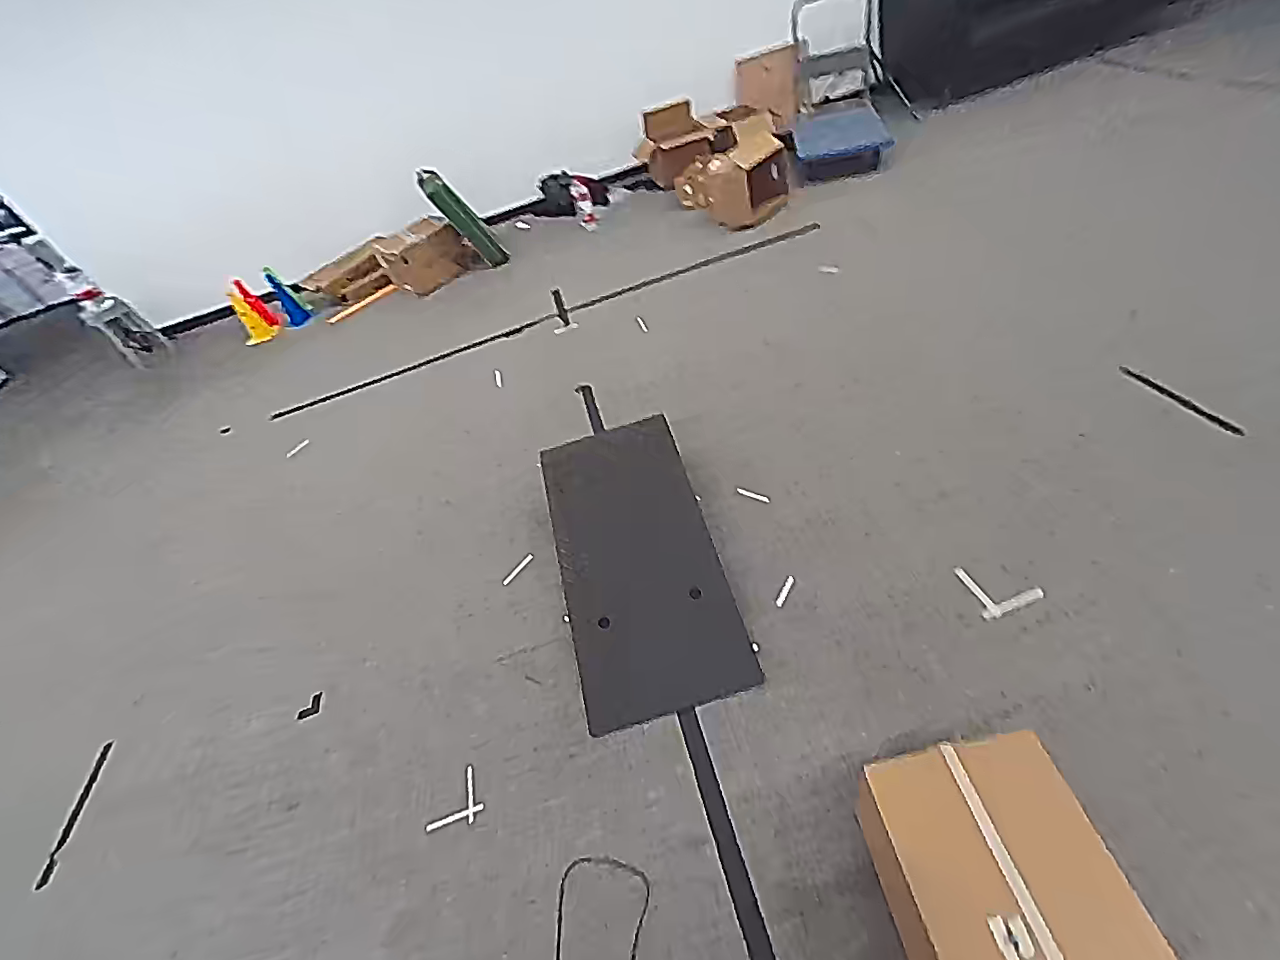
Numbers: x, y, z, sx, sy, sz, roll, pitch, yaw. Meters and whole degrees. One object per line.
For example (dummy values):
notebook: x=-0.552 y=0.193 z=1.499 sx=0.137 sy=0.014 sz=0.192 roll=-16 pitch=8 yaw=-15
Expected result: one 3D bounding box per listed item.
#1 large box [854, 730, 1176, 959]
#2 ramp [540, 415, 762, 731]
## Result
large box: x=0.620 y=0.727 z=0.958 sx=0.320 sy=0.320 sz=0.408 roll=-15 pitch=45 yaw=4
ramp: x=-0.017 y=0.220 z=1.739 sx=0.509 sy=0.206 sz=0.991 roll=-19 pitch=45 yaw=-1
